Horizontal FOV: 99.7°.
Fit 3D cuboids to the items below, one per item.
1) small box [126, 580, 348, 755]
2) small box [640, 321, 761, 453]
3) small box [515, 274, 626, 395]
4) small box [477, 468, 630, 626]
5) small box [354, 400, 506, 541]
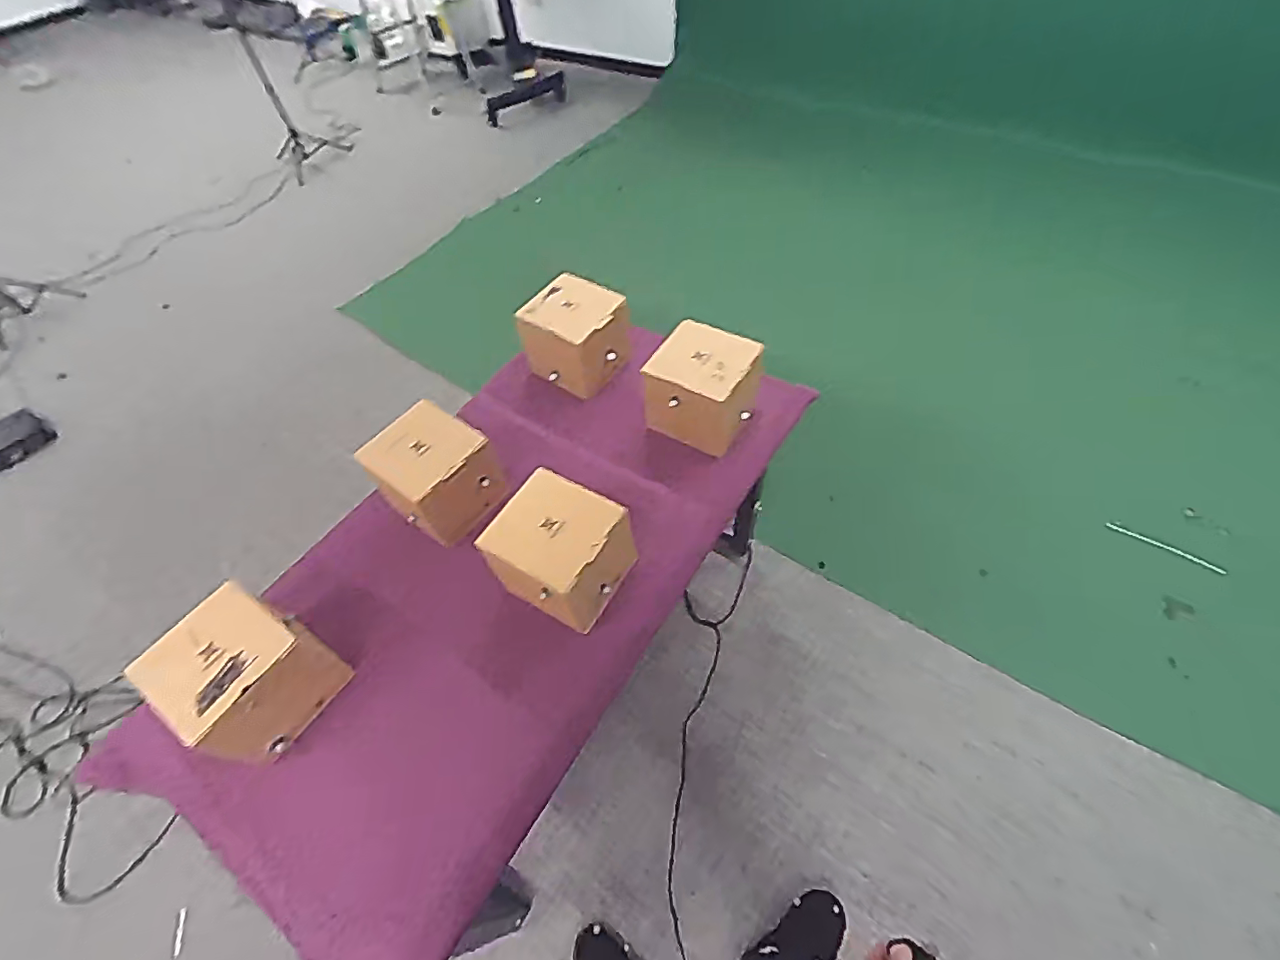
[{"bbox_3d":[-0.586,0.287,0.812,0.179,0.176,0.168,27,61,22],"label":"small box"},{"bbox_3d":[0.120,-0.182,1.081,0.179,0.176,0.168,26,63,22],"label":"small box"},{"bbox_3d":[-0.143,-0.314,1.195,0.179,0.176,0.168,30,62,20],"label":"small box"},{"bbox_3d":[-0.132,0.116,0.898,0.179,0.176,0.168,25,60,20],"label":"small box"},{"bbox_3d":[-0.378,-0.011,1.007,0.179,0.176,0.168,30,62,23],"label":"small box"}]
